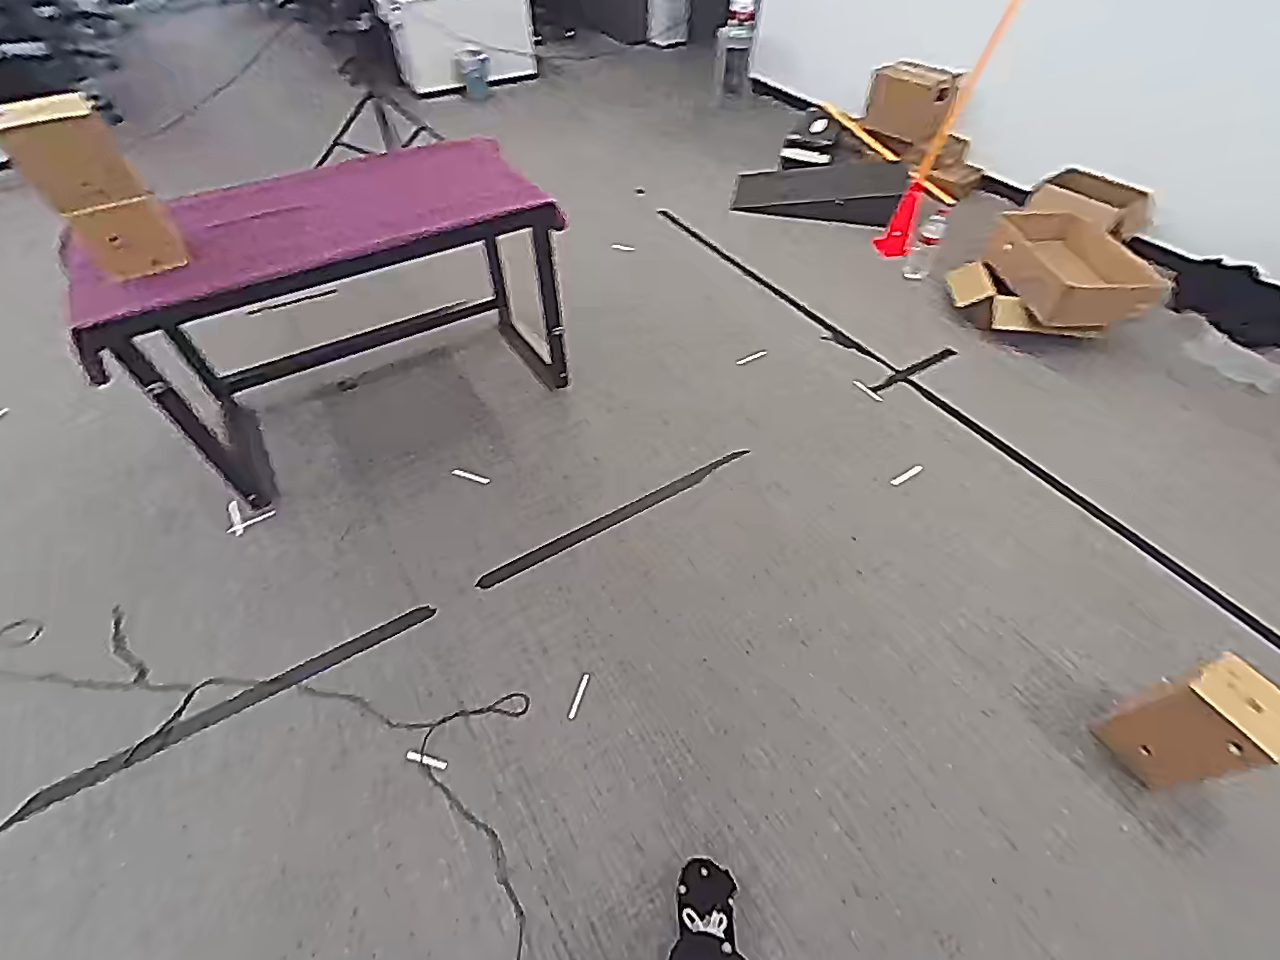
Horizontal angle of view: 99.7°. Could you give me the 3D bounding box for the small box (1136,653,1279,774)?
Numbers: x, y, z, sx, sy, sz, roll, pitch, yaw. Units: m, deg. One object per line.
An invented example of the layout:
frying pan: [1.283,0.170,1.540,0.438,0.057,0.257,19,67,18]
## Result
small box: [1.277,0.522,1.193,0.168,0.176,0.179,-22,54,-19]

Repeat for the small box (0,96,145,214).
small box: [-1.260,-0.725,1.209,0.179,0.176,0.168,-31,57,-24]

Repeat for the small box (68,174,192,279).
small box: [-1.254,-0.620,1.335,0.168,0.176,0.179,-30,57,-22]
